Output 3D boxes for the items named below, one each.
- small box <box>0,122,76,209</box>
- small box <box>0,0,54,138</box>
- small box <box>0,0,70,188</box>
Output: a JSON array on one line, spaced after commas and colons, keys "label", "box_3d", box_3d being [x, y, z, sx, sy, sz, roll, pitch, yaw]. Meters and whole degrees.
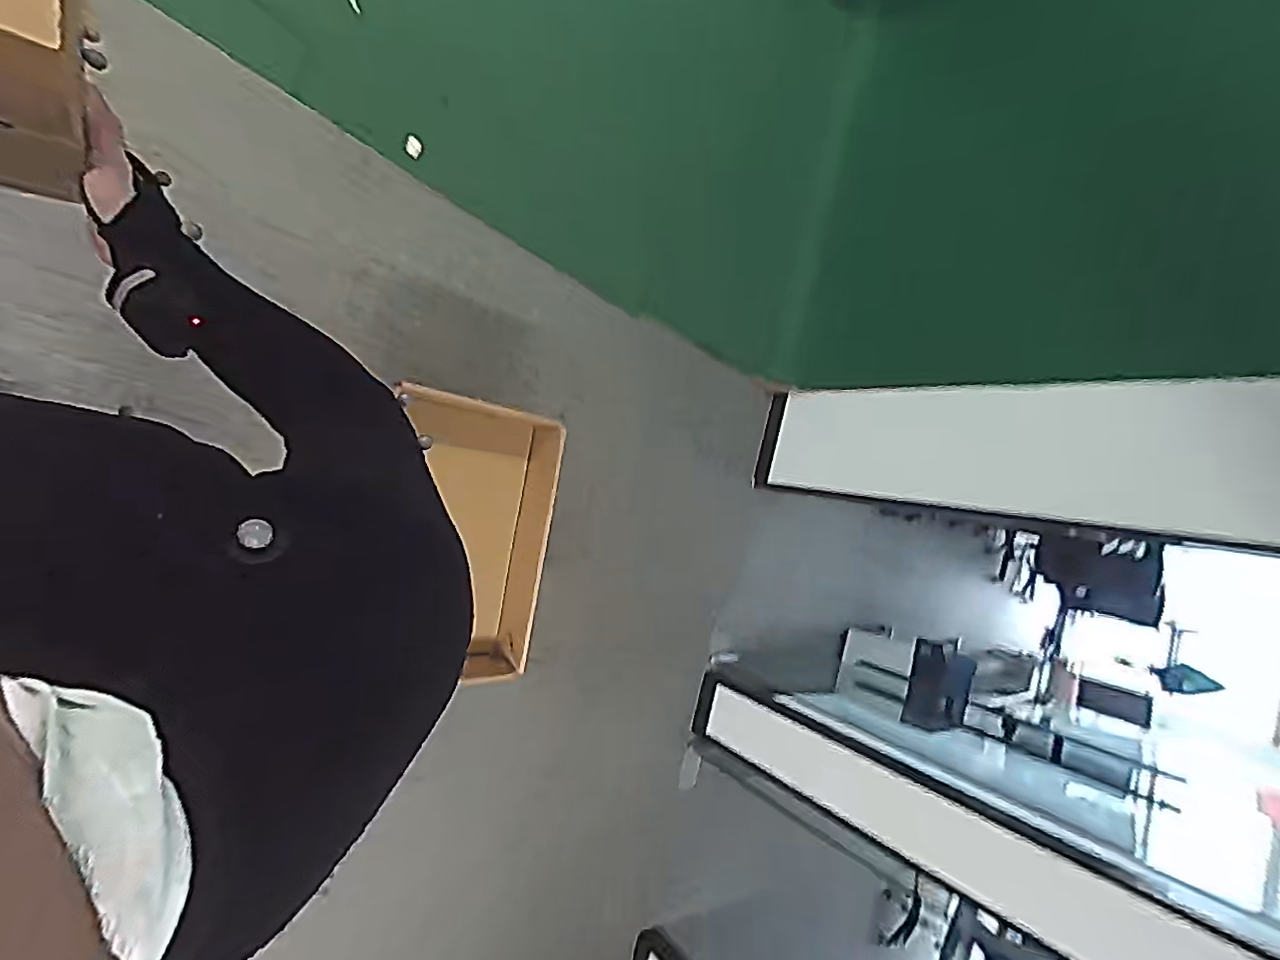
[{"label": "small box", "box_3d": [-0.620, -0.356, 0.470, 0.168, 0.176, 0.179, -7, 105, -44]}, {"label": "small box", "box_3d": [-0.390, -0.297, 0.243, 0.168, 0.176, 0.179, -1, 101, -45]}, {"label": "small box", "box_3d": [-0.503, -0.321, 0.358, 0.168, 0.176, 0.179, -3, 101, -45]}]
